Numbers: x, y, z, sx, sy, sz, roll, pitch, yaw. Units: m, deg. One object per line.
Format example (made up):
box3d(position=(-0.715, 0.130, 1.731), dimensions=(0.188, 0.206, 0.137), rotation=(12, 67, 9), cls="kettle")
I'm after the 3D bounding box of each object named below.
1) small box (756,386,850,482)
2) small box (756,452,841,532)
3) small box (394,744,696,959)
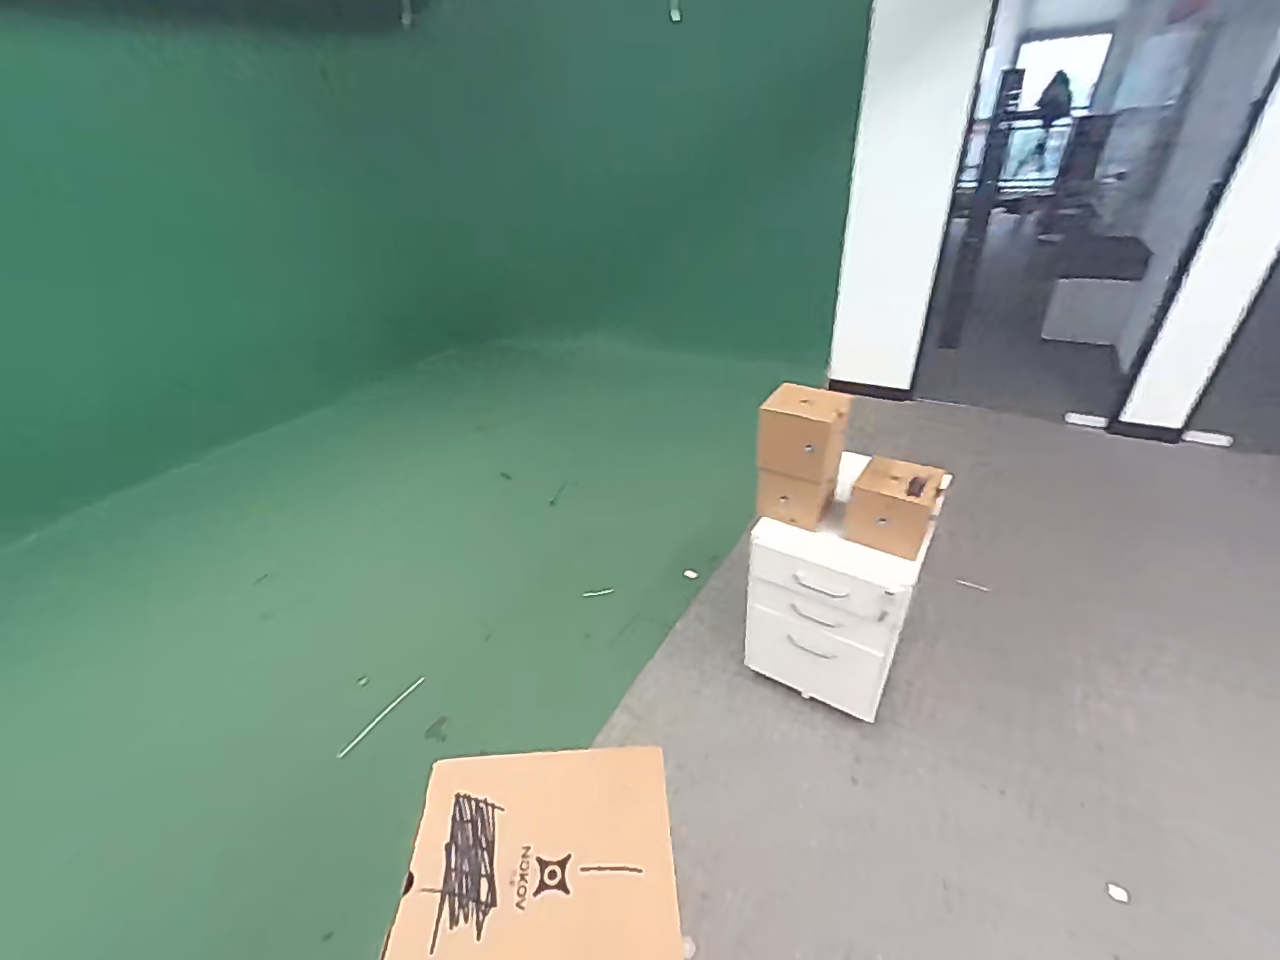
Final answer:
box3d(position=(0.403, -0.114, 1.351), dimensions=(0.179, 0.176, 0.168), rotation=(17, 38, 29), cls="small box")
box3d(position=(0.421, 0.012, 1.452), dimensions=(0.168, 0.176, 0.179), rotation=(19, 41, 29), cls="small box")
box3d(position=(-0.056, 0.318, 0.390), dimensions=(0.179, 0.176, 0.168), rotation=(-1, 31, -2), cls="small box")
